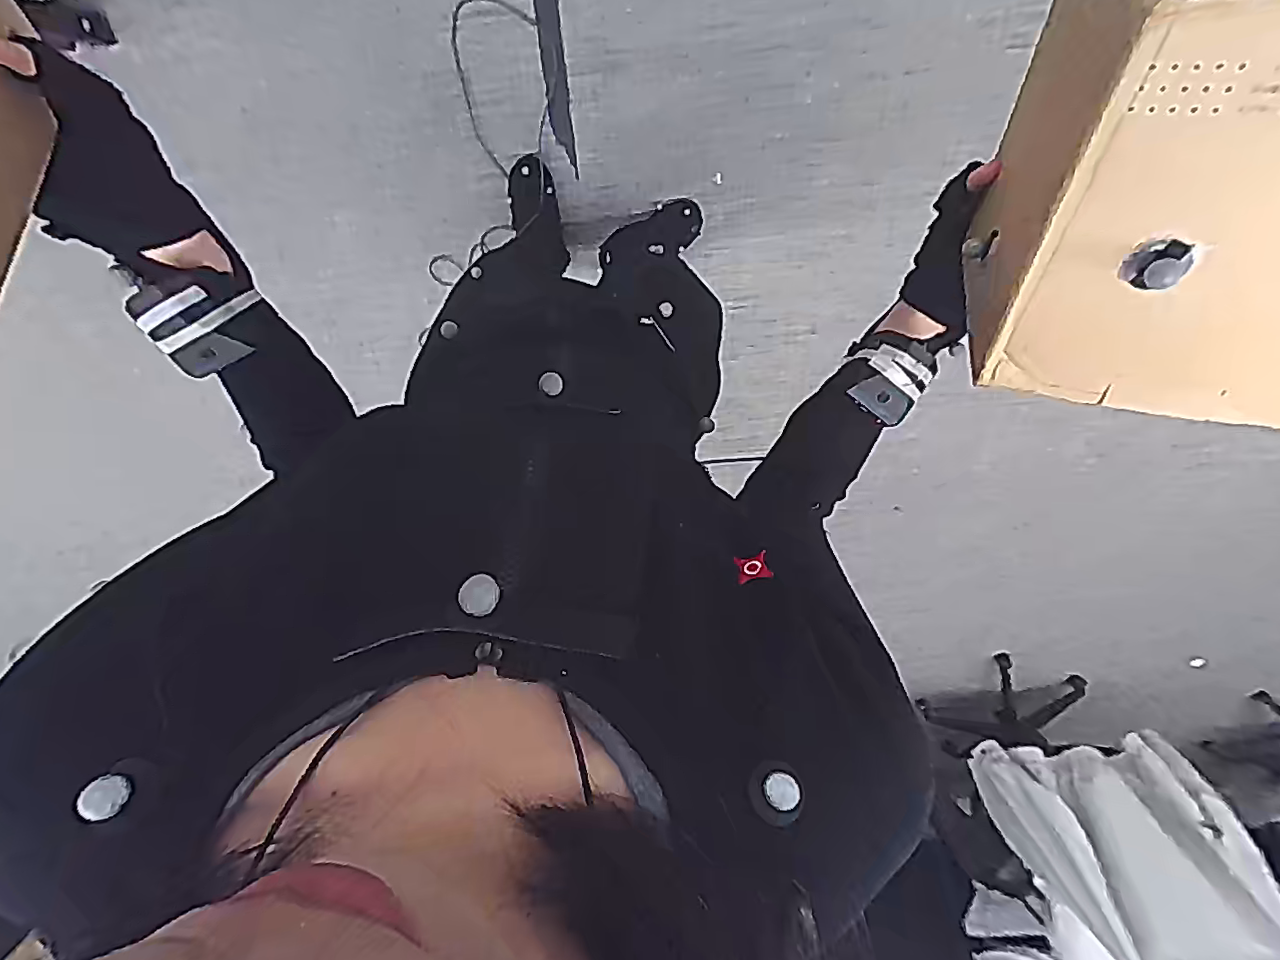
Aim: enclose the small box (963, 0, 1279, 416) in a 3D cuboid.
[{"bbox_3d":[0.277,-0.154,0.257,0.168,0.179,0.176,13,141,16],"label":"small box"}]
